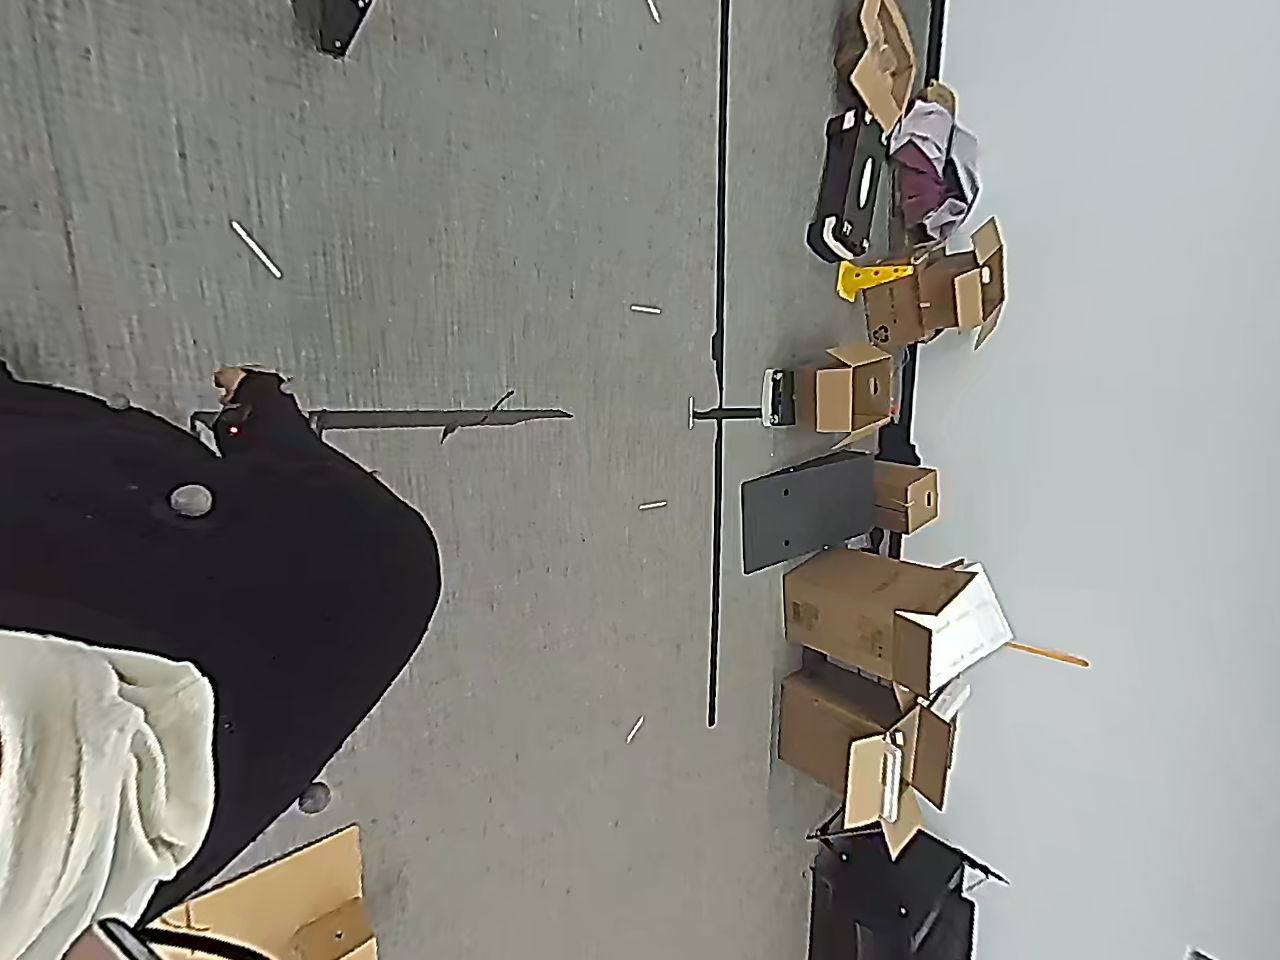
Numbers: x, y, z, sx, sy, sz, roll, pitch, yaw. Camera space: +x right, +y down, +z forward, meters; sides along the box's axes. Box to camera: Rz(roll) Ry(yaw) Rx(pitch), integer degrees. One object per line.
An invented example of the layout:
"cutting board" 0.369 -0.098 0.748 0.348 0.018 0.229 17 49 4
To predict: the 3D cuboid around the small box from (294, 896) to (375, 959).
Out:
"small box" -0.886 1.375 1.566 0.179 0.176 0.168 -7 102 -42
